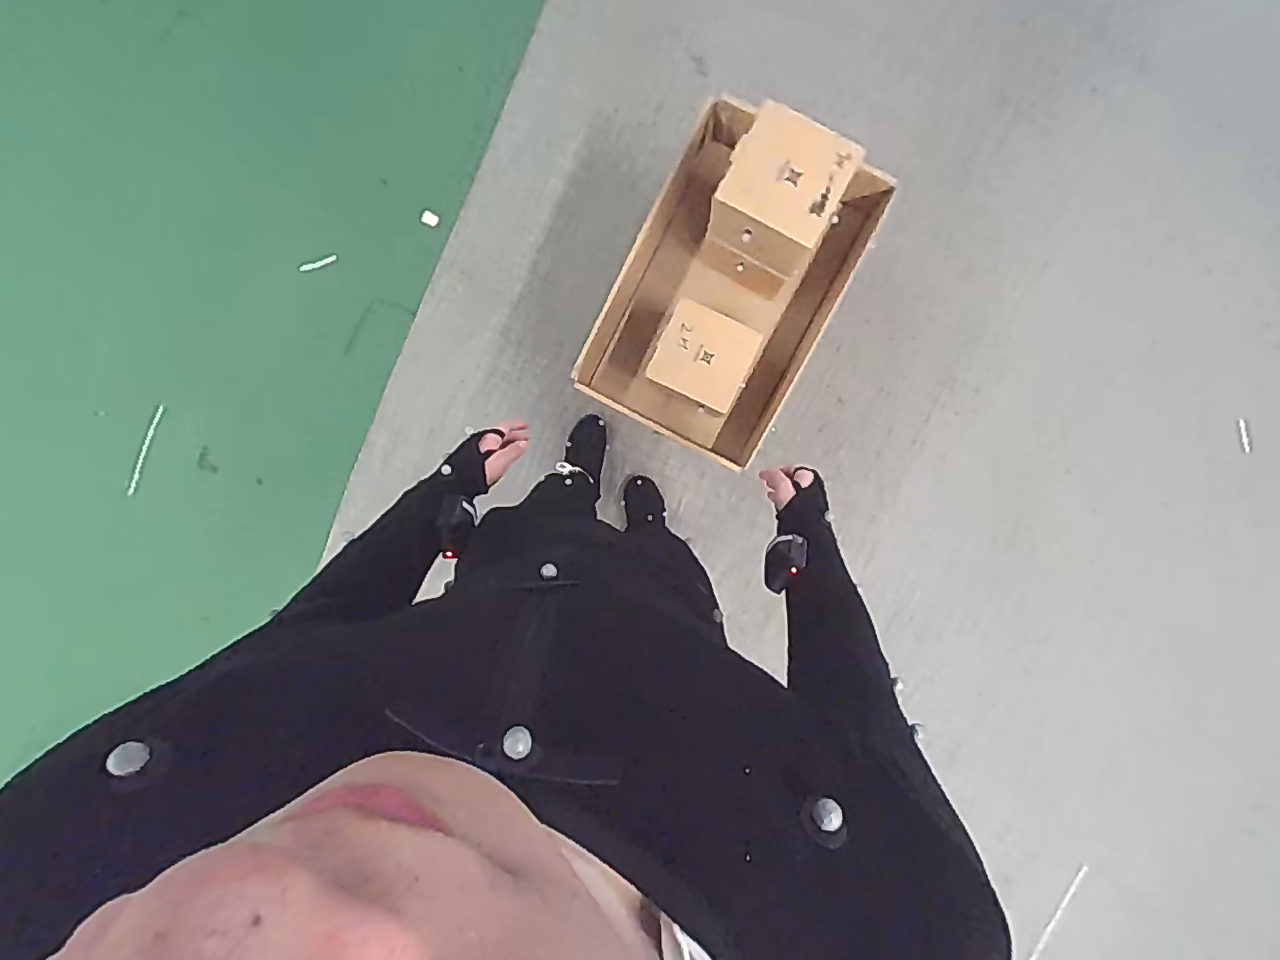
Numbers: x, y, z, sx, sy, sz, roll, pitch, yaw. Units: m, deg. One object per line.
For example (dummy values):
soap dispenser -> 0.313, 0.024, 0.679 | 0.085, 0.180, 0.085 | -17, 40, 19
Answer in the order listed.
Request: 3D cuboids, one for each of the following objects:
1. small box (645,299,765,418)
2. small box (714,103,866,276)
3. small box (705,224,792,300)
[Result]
small box -> 0.125, -0.235, 1.091 | 0.179, 0.176, 0.168 | 26, 94, 1
small box -> 0.237, -0.471, 0.909 | 0.179, 0.176, 0.168 | 29, 97, 1
small box -> 0.242, -0.482, 1.072 | 0.179, 0.176, 0.168 | 30, 96, 0
